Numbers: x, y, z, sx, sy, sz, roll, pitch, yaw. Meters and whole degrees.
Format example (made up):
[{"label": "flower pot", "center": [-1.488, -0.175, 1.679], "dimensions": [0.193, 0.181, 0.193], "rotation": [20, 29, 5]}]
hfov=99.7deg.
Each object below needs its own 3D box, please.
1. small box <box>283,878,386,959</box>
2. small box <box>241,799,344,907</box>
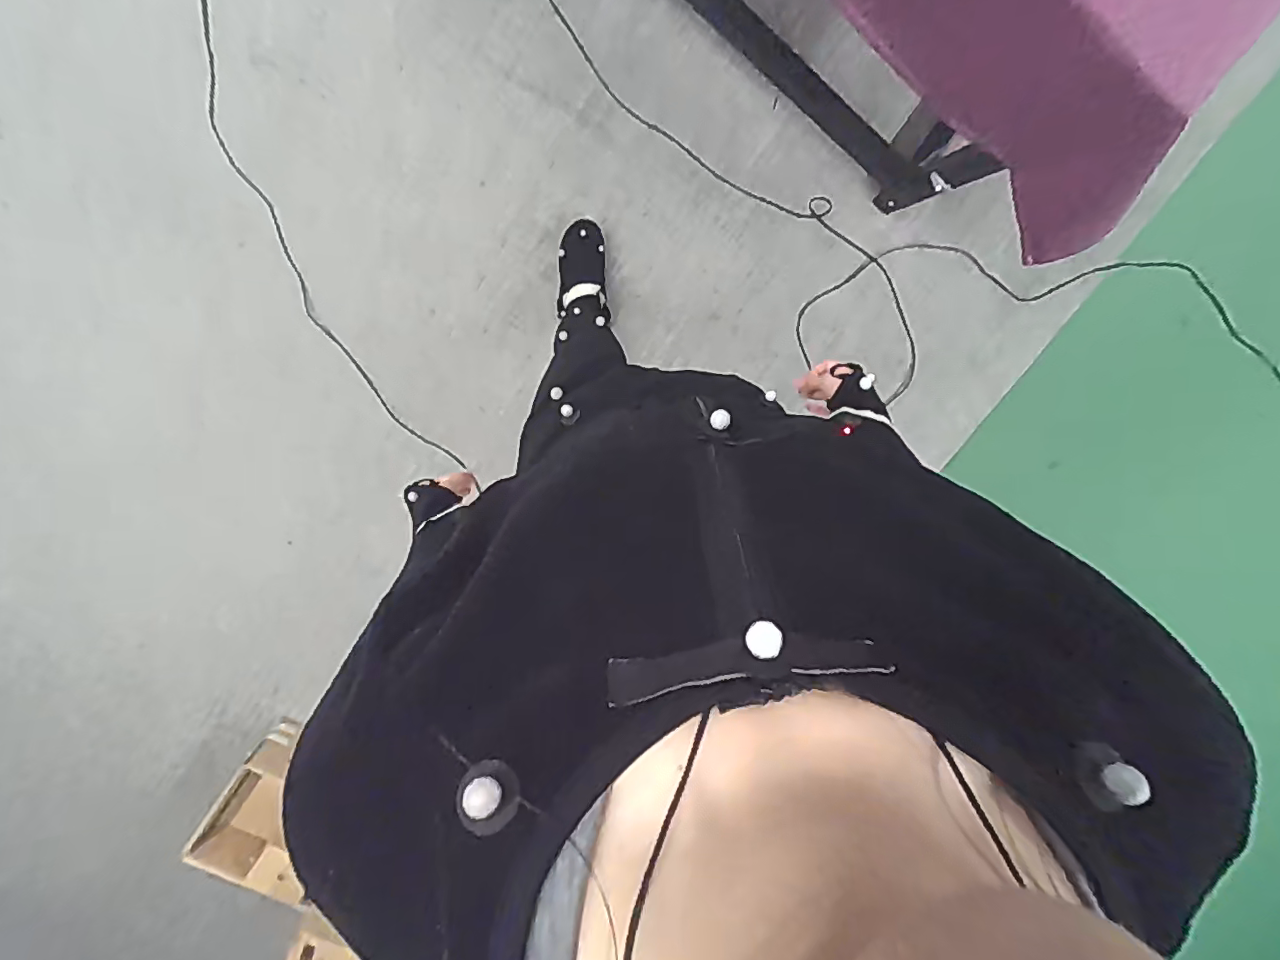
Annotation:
[{"label": "small box", "center": [-0.845, 1.252, 1.493], "dimensions": [0.179, 0.176, 0.168], "rotation": [31, 100, -12]}, {"label": "small box", "center": [-1.025, 1.105, 1.611], "dimensions": [0.168, 0.176, 0.179], "rotation": [35, 100, -14]}]
